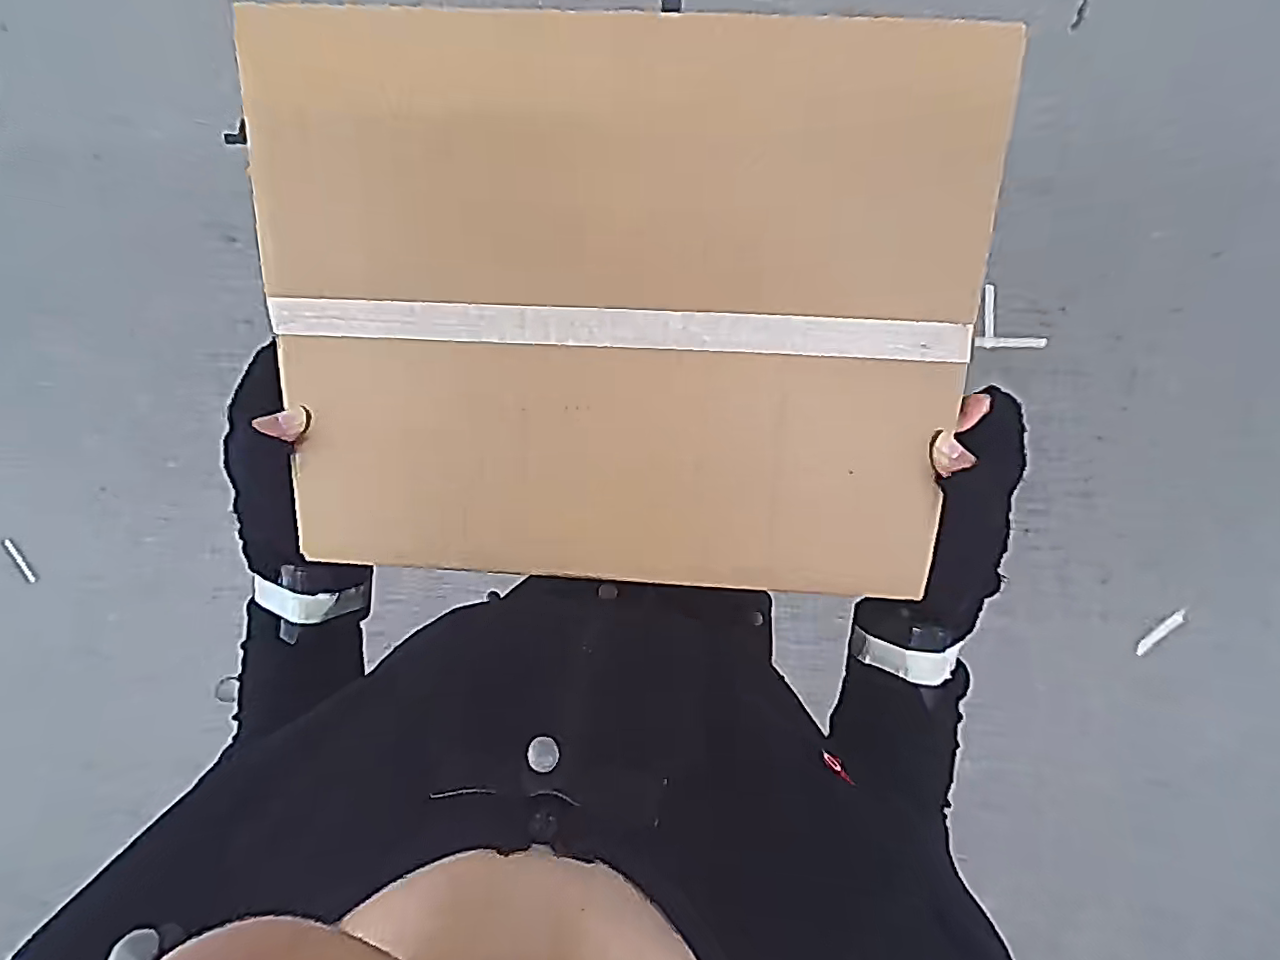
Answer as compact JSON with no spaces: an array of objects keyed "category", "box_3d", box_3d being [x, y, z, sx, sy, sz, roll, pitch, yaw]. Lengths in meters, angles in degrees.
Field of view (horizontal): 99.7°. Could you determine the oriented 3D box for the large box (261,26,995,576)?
[{"category":"large box","box_3d":[-0.010,-0.126,0.467,0.408,0.320,0.320,3,105,2]}]
